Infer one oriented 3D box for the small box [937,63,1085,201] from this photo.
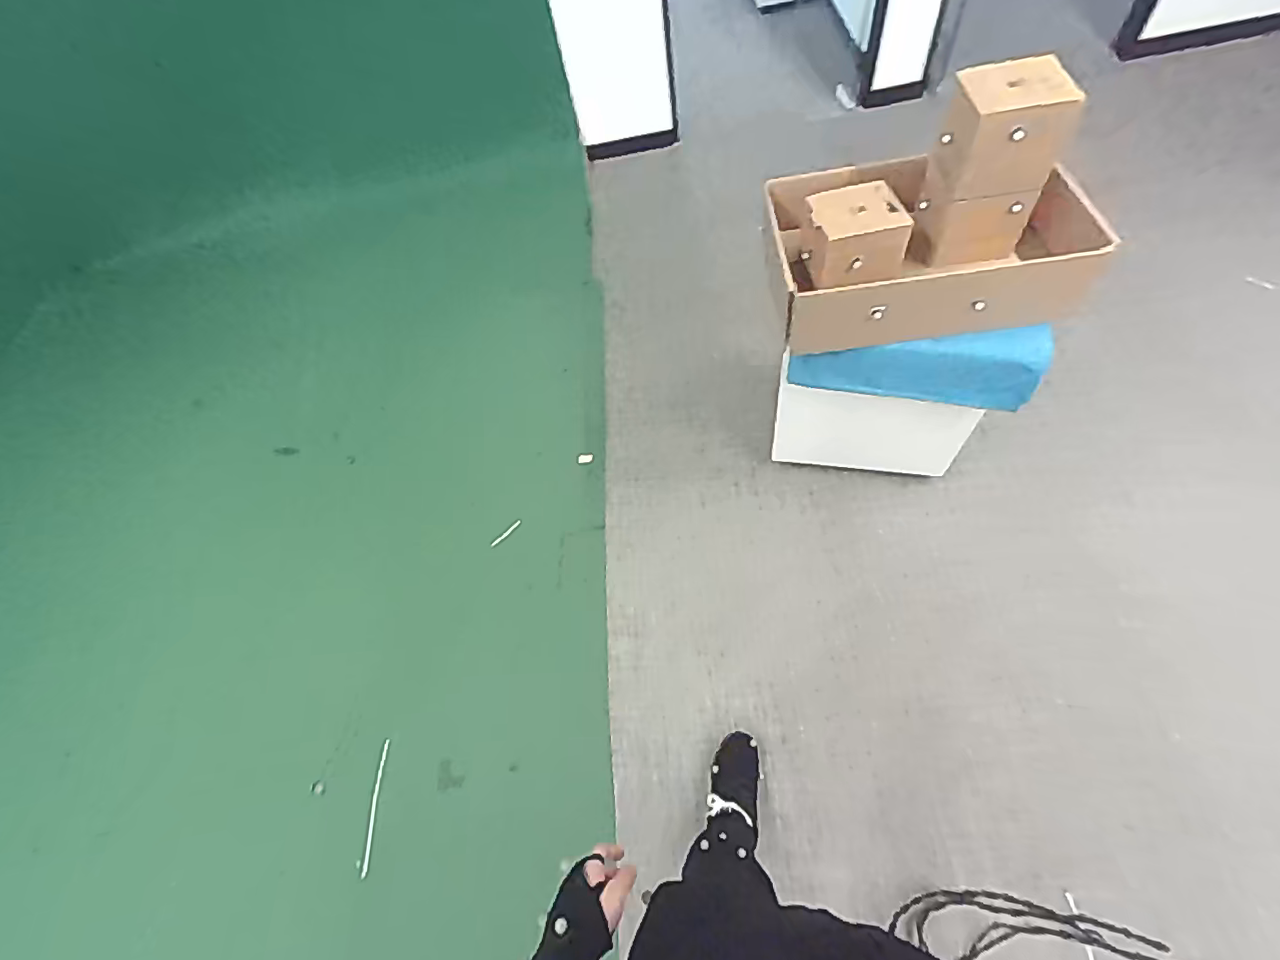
[{"bbox_3d":[0.710,-0.676,1.066,0.179,0.176,0.168,-3,59,8],"label":"small box"}]
